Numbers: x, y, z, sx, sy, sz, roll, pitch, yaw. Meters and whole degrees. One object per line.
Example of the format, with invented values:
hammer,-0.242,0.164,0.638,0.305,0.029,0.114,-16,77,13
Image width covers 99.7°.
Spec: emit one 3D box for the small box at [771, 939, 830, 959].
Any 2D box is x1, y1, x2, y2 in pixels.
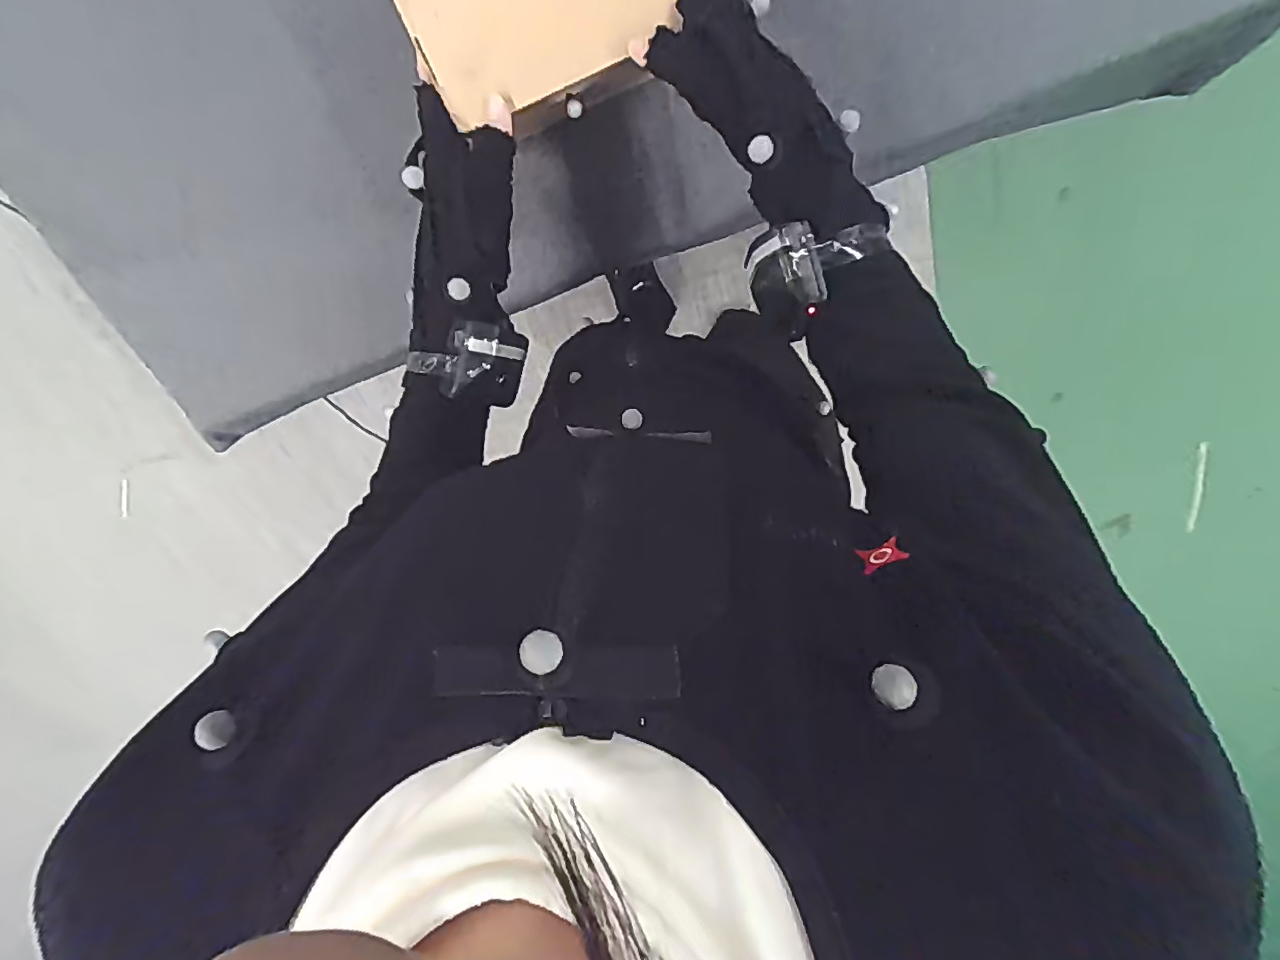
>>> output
small box,0.561,1.697,1.830,0.168,0.176,0.179,-27,115,13
